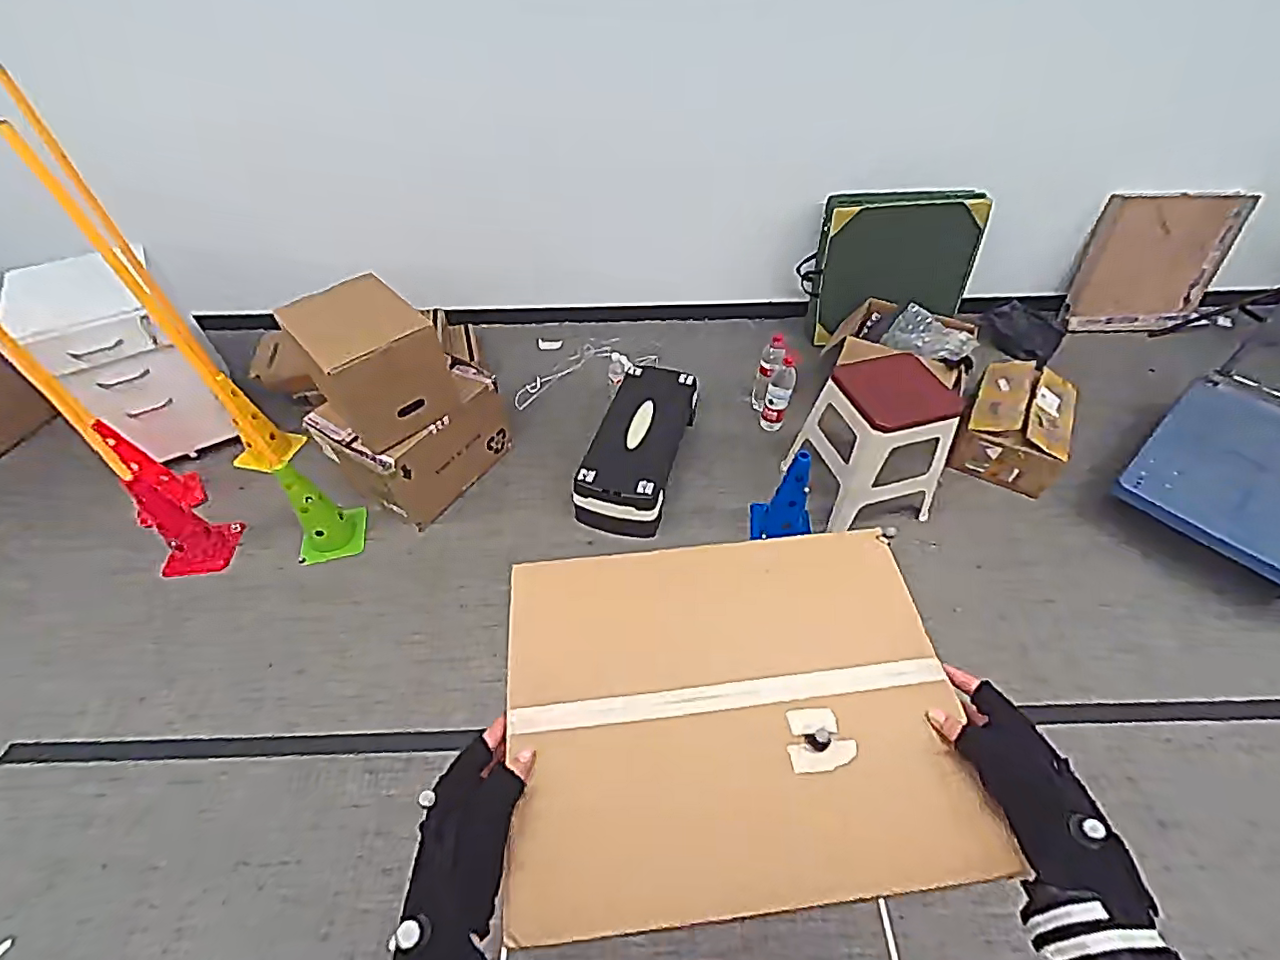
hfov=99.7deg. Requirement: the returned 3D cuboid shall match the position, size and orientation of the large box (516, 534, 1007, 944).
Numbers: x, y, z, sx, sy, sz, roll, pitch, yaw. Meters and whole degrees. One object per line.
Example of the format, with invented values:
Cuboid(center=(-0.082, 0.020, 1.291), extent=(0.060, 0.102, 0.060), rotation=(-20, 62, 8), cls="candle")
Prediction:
Cuboid(center=(0.082, 0.291, 0.626), extent=(0.408, 0.320, 0.320), rotation=(-5, 55, -4), cls="large box")
